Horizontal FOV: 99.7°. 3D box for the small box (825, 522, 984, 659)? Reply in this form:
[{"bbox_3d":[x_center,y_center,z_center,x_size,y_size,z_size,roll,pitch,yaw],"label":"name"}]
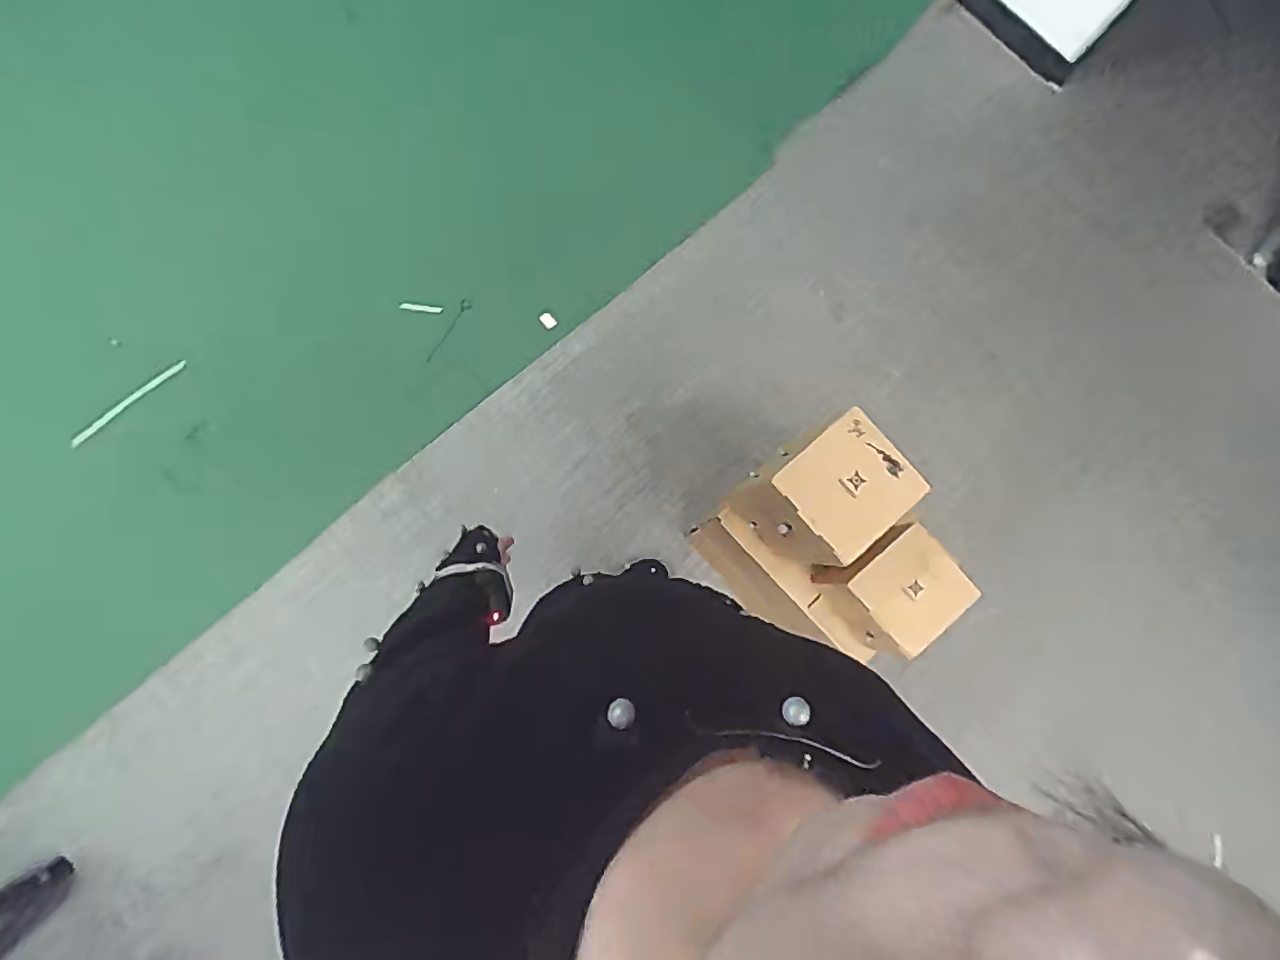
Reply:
[{"bbox_3d":[0.466,0.199,0.993,0.179,0.176,0.168,-37,83,-8],"label":"small box"}]

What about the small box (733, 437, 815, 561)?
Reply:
[{"bbox_3d":[0.299,0.033,1.014,0.179,0.176,0.168,-41,86,-6],"label":"small box"}]

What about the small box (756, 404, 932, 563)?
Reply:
[{"bbox_3d":[0.303,0.013,0.851,0.179,0.176,0.168,-40,86,-6],"label":"small box"}]
